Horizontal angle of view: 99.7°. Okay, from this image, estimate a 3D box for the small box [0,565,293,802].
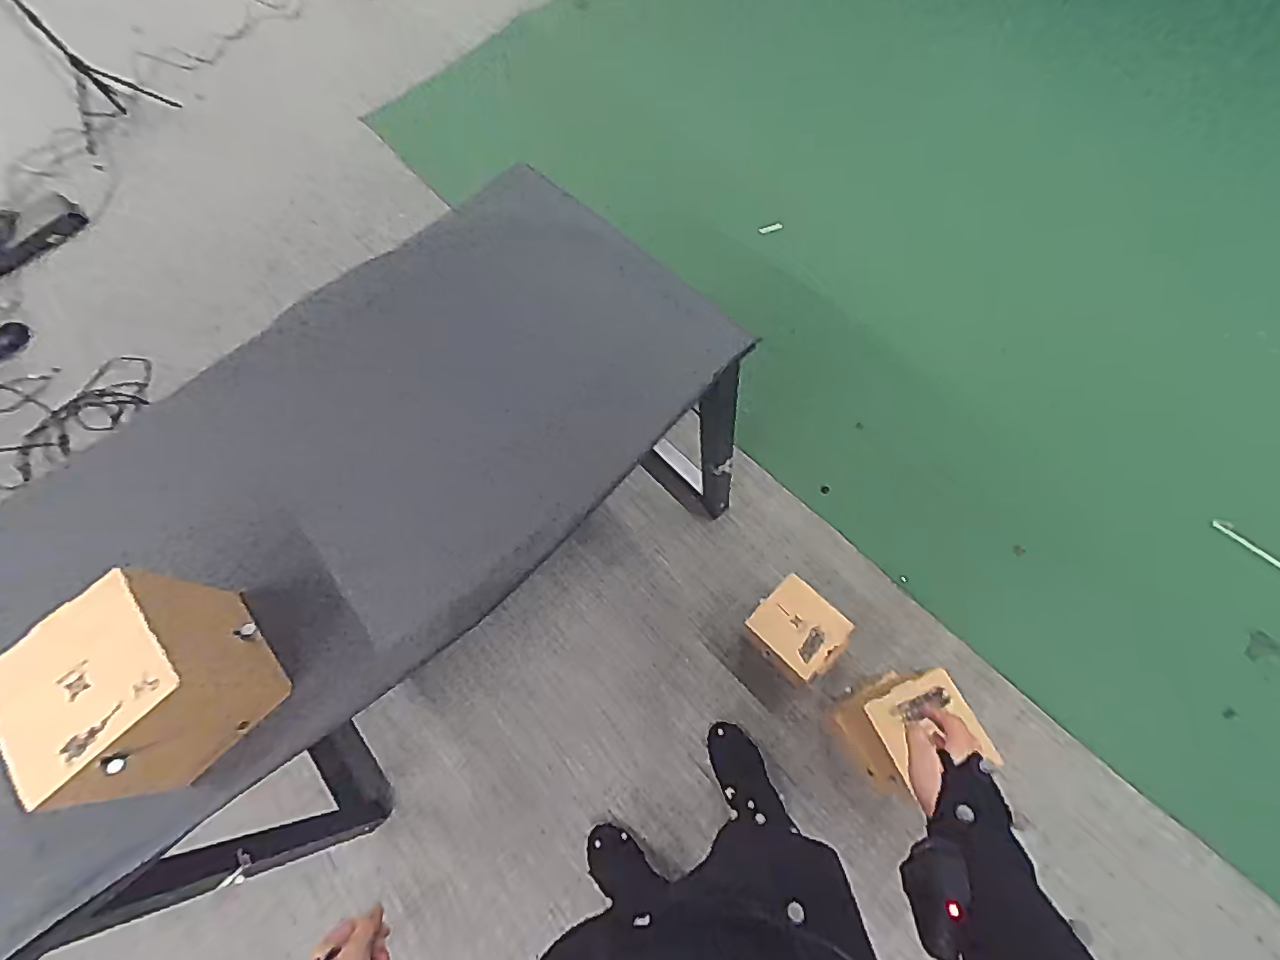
[{"bbox_3d":[-0.560,0.232,0.628,0.168,0.176,0.179,-43,69,-11],"label":"small box"}]

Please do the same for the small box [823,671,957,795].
[{"bbox_3d":[0.522,0.531,1.156,0.168,0.176,0.179,-33,67,-7],"label":"small box"}]

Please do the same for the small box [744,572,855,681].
[{"bbox_3d":[0.361,0.345,1.256,0.168,0.176,0.179,-43,68,-11],"label":"small box"}]
